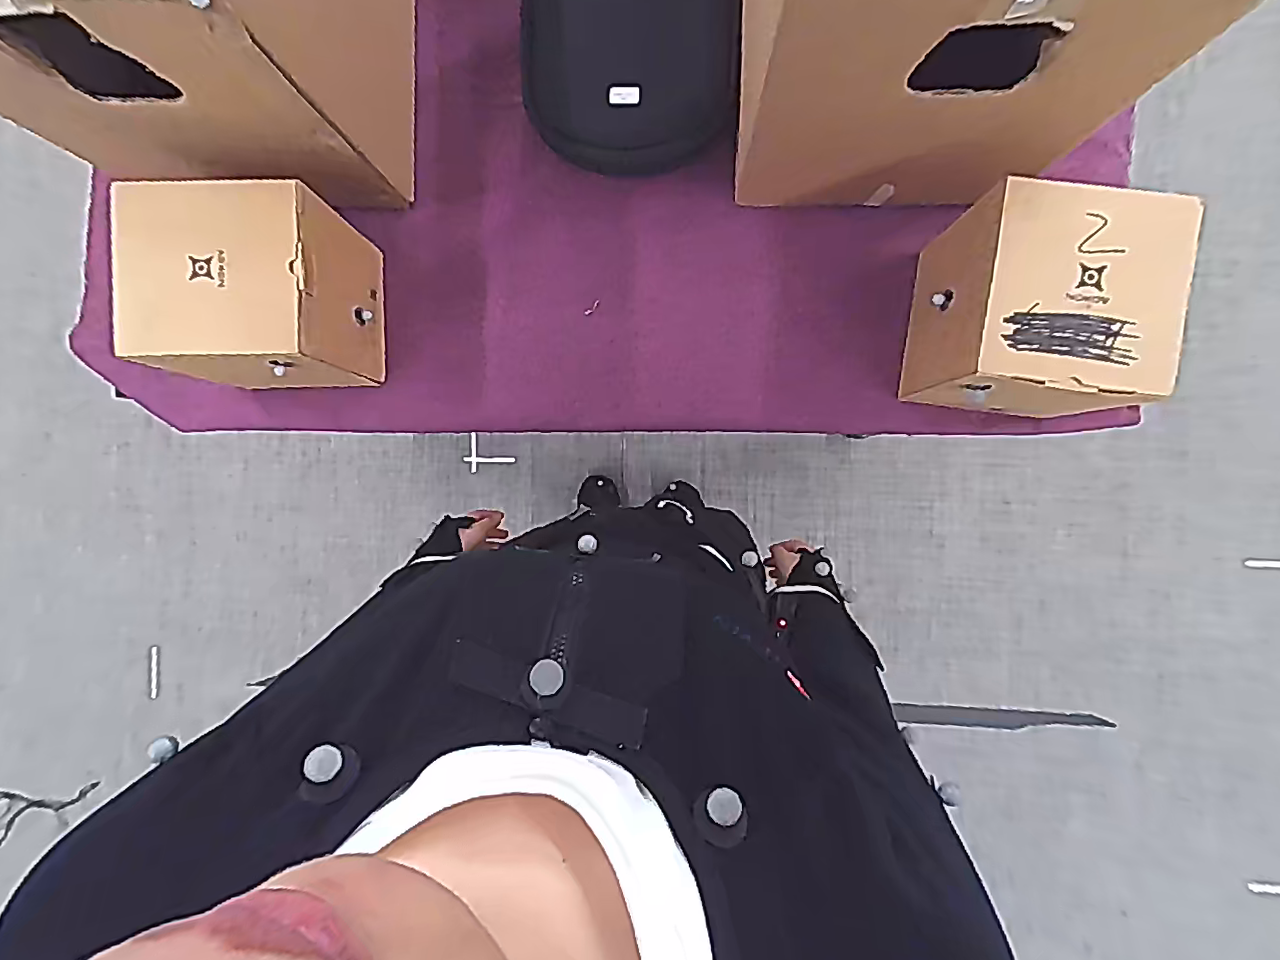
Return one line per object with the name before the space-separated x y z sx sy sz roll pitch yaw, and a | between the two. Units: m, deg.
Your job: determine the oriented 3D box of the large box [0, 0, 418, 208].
large box | -0.429 -0.531 0.518 0.320 0.320 0.408 0 94 2
